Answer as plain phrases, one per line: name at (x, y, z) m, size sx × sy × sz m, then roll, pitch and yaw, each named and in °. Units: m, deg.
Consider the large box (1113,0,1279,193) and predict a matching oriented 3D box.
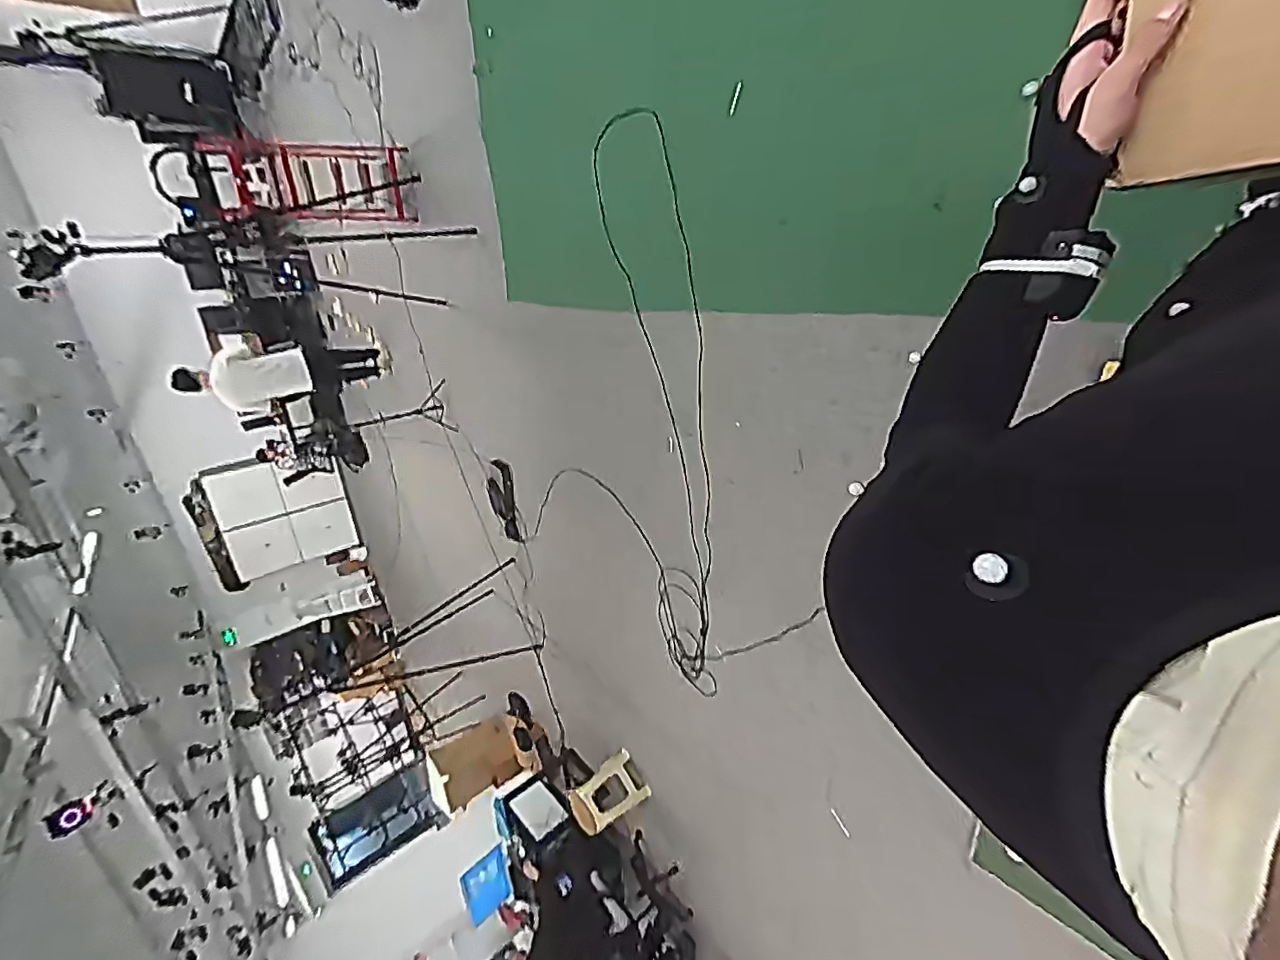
large box at (0.616, -0.407, 0.358) m, size 0.408 × 0.320 × 0.320 m, roll 13°, pitch 118°, yaw 45°
